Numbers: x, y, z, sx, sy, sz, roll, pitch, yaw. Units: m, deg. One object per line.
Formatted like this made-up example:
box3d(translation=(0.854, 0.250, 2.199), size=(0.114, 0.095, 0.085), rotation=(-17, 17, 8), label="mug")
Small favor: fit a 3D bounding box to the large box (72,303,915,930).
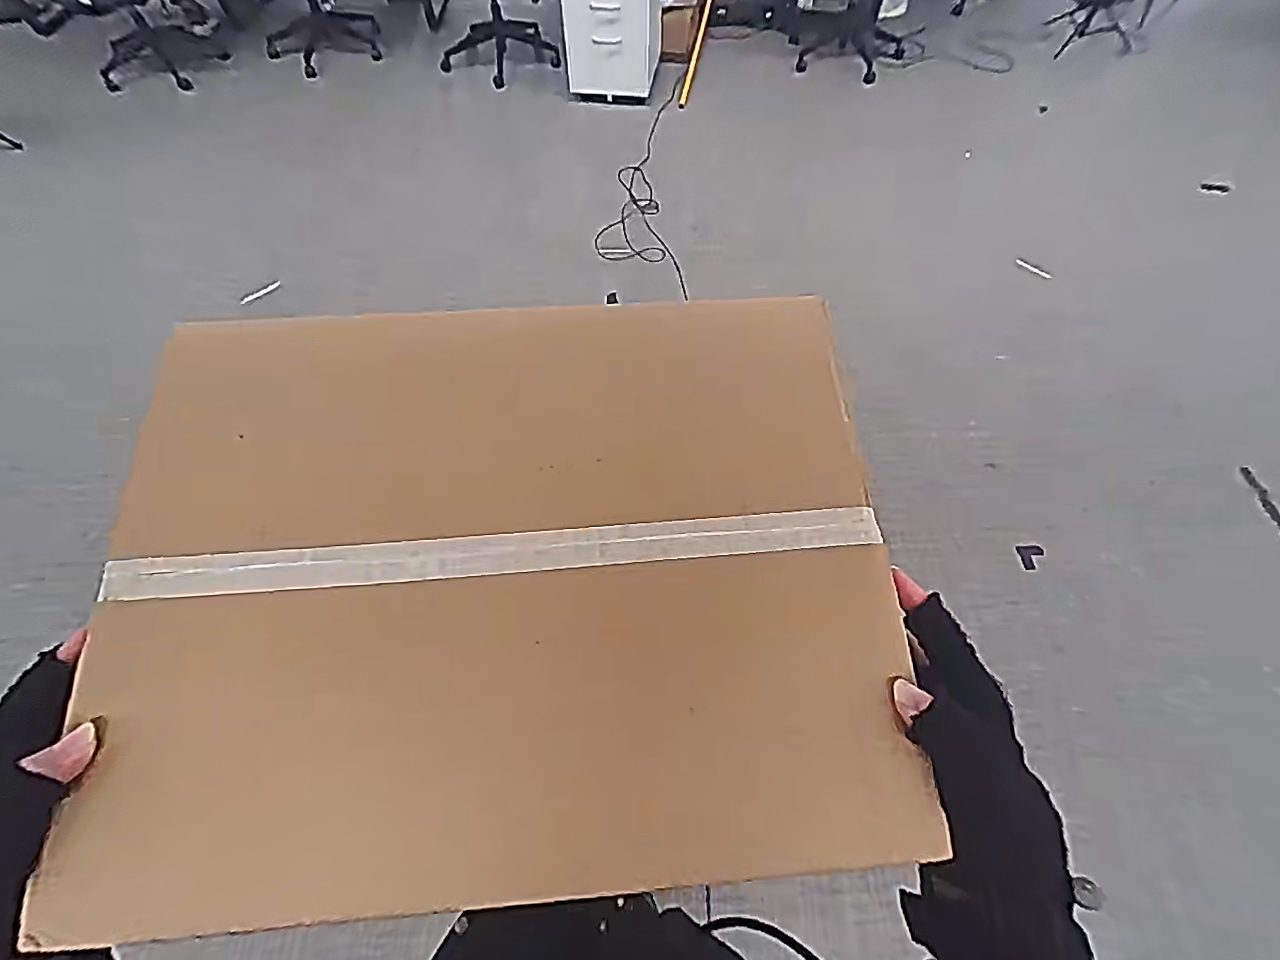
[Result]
box3d(translation=(-0.076, 0.090, 0.442), size=(0.408, 0.320, 0.320), rotation=(-4, 70, -3), label="large box")
